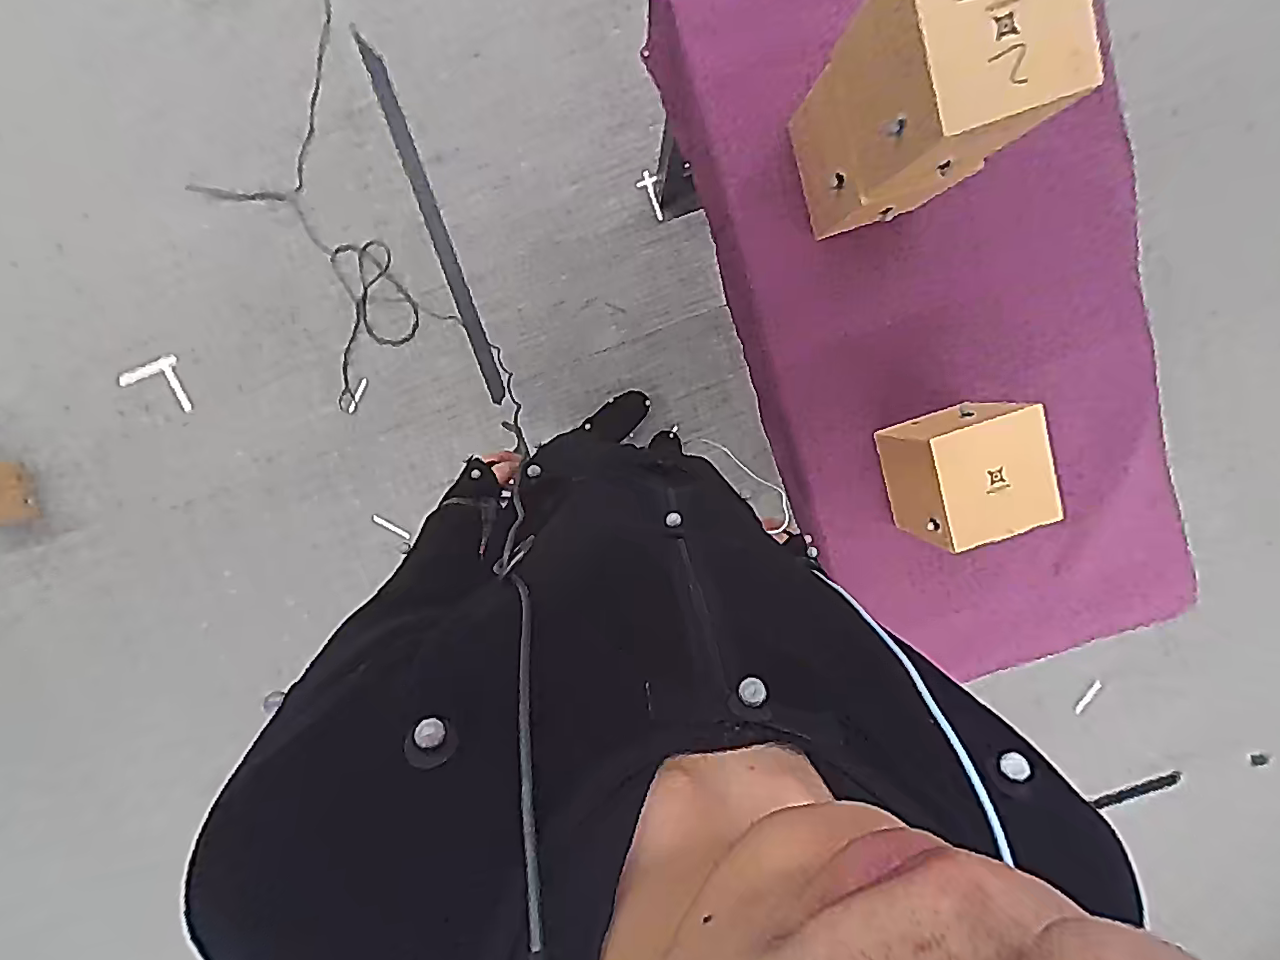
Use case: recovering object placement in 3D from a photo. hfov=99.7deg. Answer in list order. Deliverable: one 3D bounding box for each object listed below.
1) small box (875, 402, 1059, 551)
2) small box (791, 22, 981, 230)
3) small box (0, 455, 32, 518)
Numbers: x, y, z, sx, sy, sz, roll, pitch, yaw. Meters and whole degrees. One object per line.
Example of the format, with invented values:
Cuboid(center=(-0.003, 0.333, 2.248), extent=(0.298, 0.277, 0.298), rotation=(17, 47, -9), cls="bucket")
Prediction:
Cuboid(center=(0.491, -0.014, 0.836), extent=(0.168, 0.176, 0.179), rotation=(-18, 100, 0), cls="small box")
Cuboid(center=(0.329, -0.467, 0.750), extent=(0.168, 0.176, 0.179), rotation=(-17, 100, 0), cls="small box")
Cuboid(center=(-1.853, 0.037, 1.487), extent=(0.179, 0.176, 0.168), rotation=(-16, 99, 1), cls="small box")
